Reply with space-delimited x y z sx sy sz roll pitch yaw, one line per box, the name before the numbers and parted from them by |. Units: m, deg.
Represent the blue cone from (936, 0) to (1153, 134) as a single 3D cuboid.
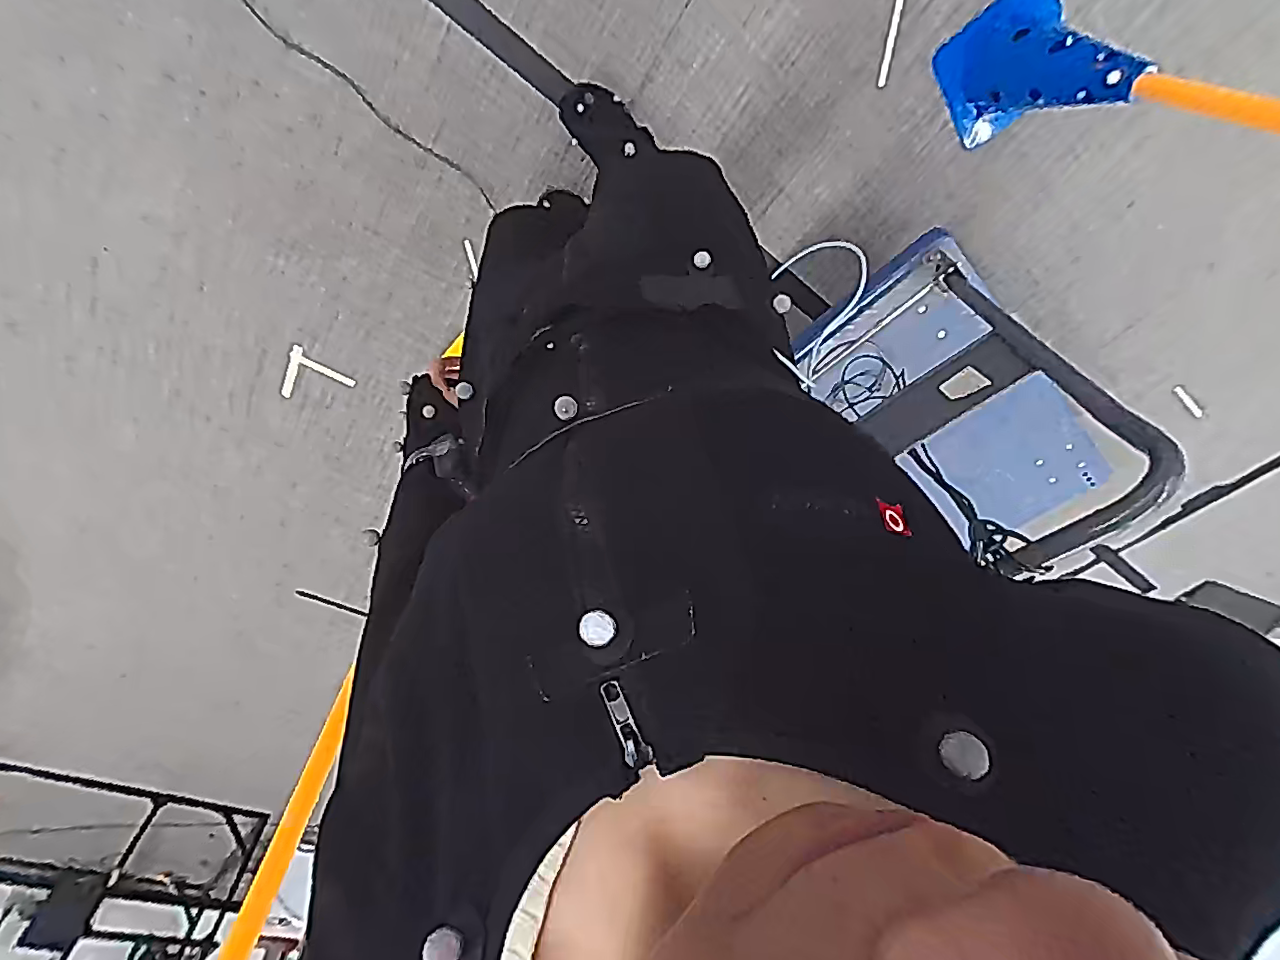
blue cone | 0.643 -0.647 0.834 0.193 0.380 0.192 -31 123 24
